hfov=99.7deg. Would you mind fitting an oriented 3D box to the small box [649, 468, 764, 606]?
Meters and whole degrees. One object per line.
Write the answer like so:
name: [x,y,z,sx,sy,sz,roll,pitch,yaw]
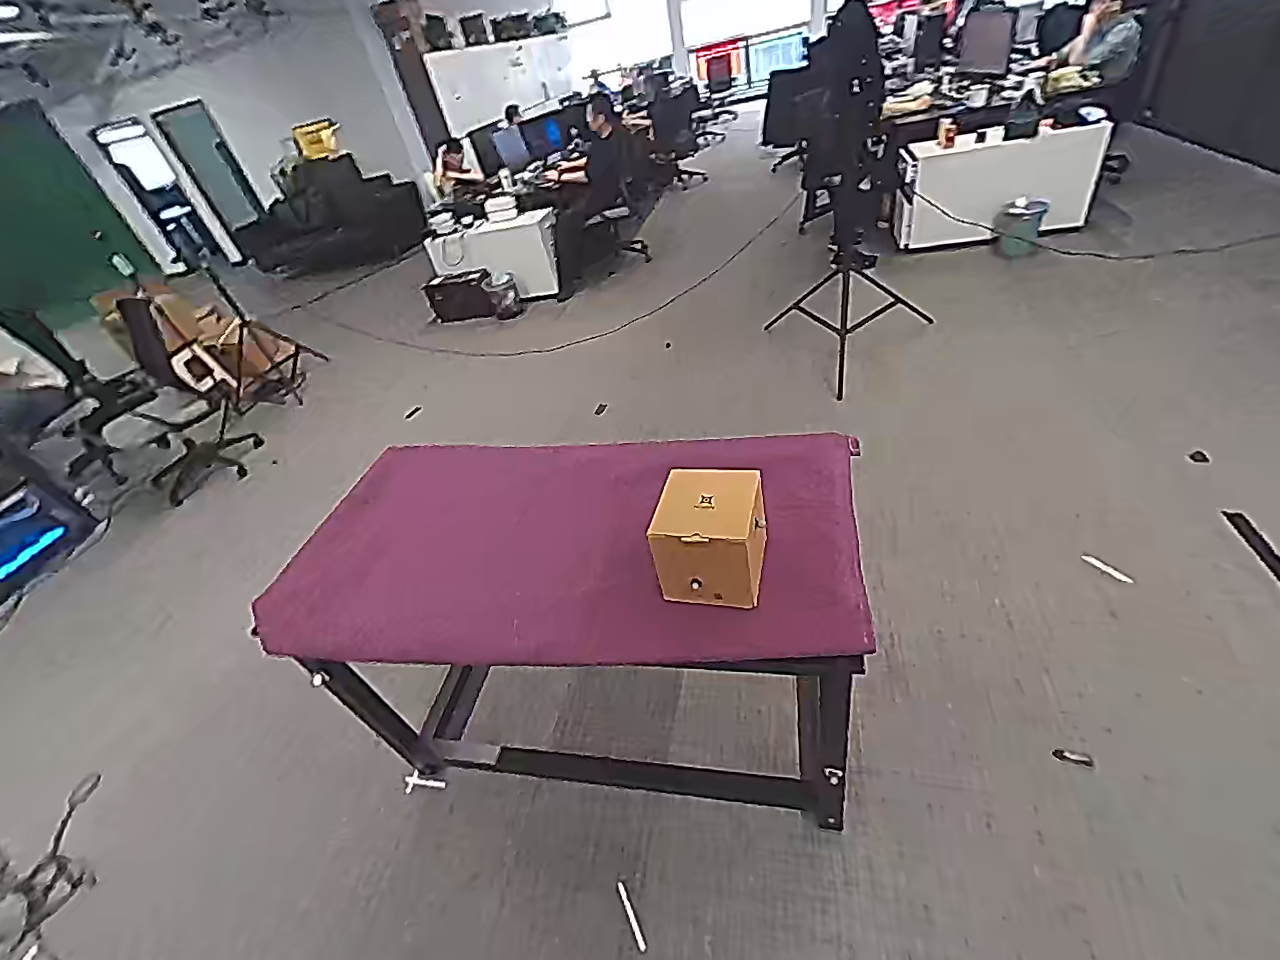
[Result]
small box: [0.129,0.098,0.968,0.168,0.176,0.179,1,40,20]
